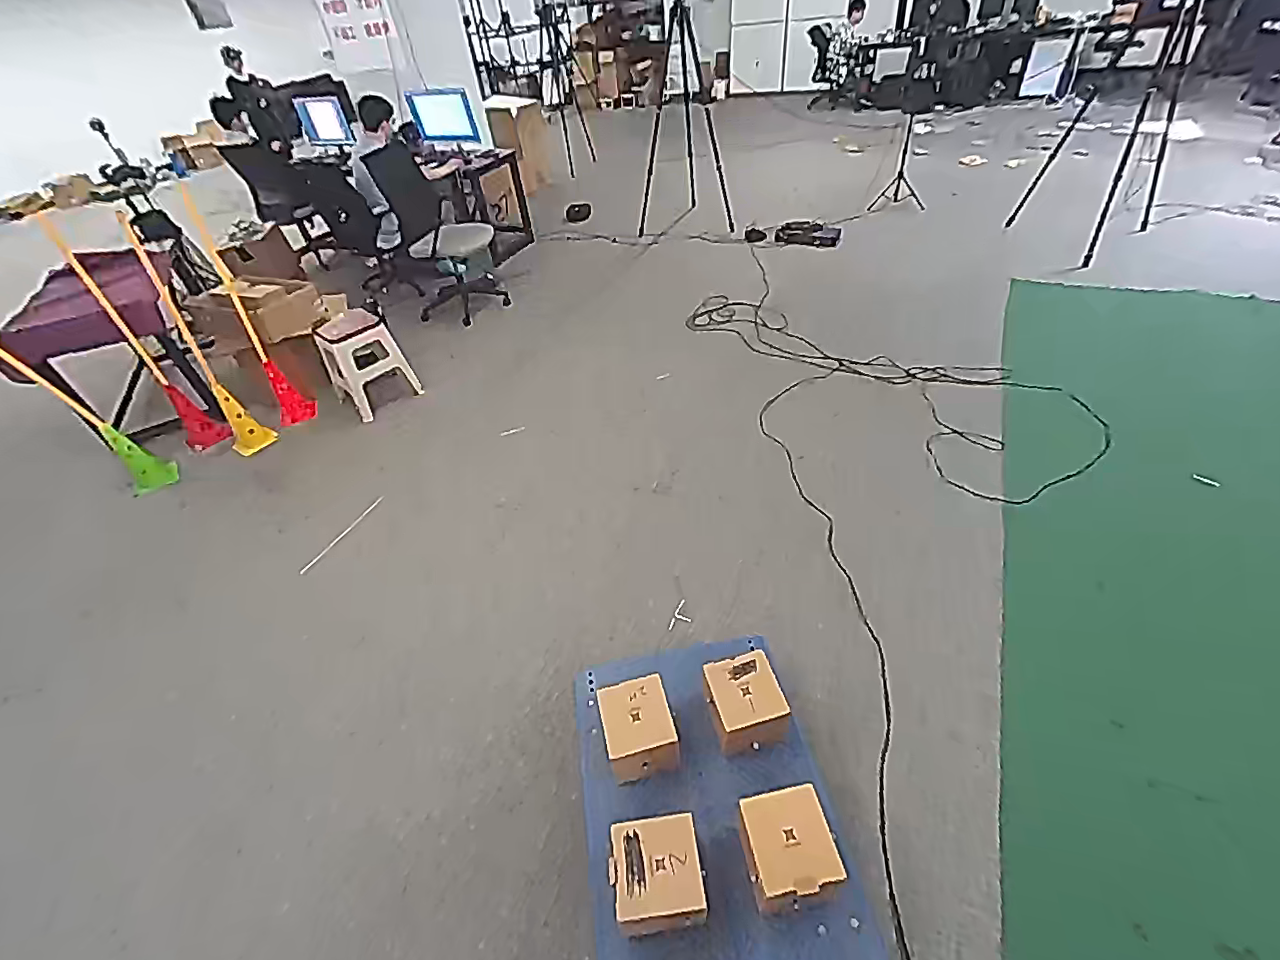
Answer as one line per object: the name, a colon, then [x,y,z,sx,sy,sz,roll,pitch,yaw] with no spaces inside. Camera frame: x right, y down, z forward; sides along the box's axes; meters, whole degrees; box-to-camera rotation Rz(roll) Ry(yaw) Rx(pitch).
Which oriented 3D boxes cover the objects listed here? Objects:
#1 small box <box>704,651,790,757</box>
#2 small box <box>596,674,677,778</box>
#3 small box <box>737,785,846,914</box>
small box: [0.264,0.571,1.379,0.168,0.176,0.179,-13,44,-7]
small box: [-0.006,0.622,1.354,0.168,0.176,0.179,-12,43,-8]
small box: [0.309,0.785,1.148,0.168,0.176,0.179,-10,44,-4]
